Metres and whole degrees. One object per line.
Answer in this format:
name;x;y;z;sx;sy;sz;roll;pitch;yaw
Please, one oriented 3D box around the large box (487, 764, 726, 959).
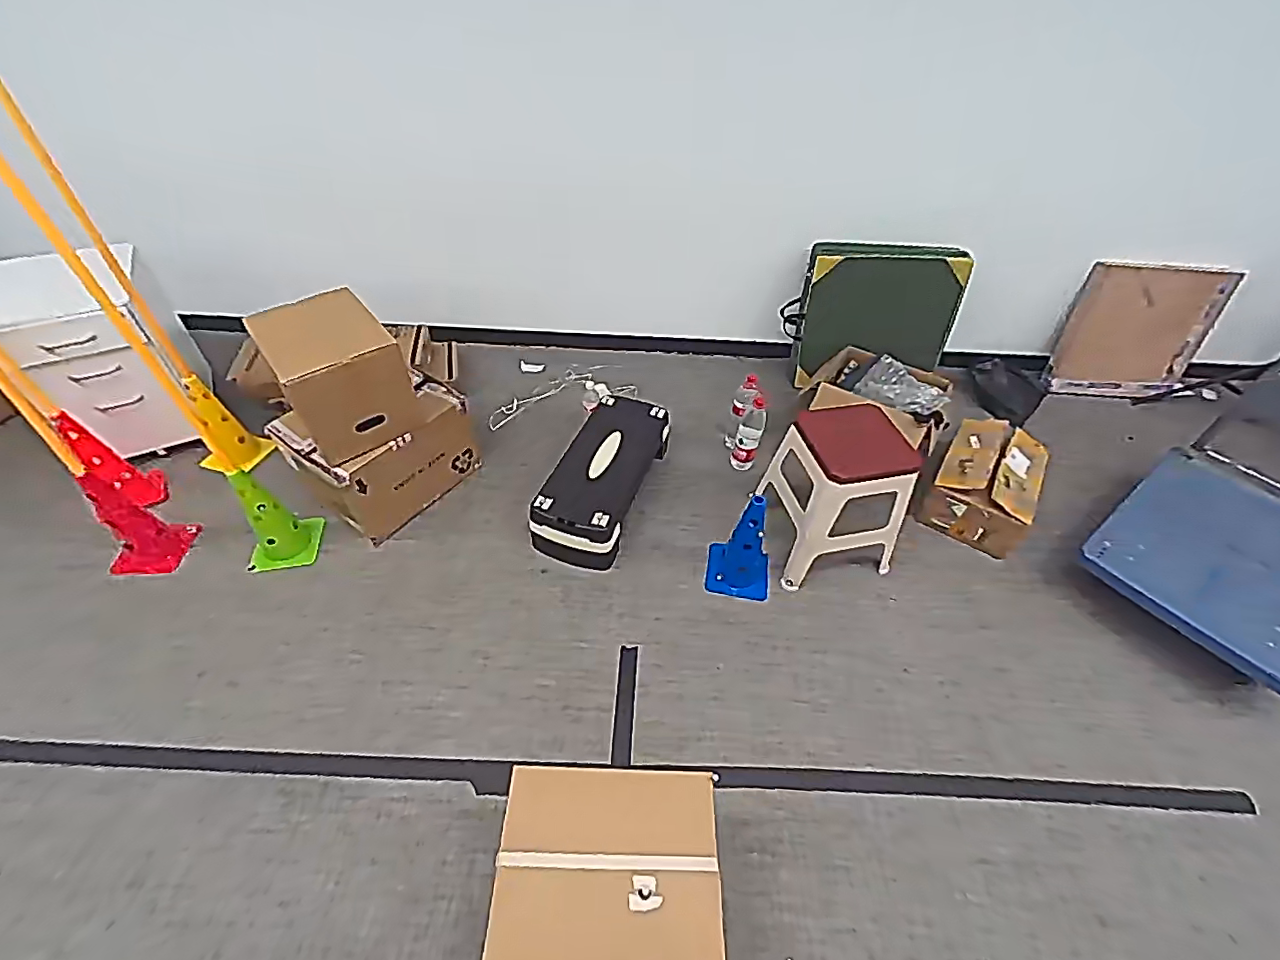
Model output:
large box;-0.063;0.796;1.096;0.408;0.320;0.320;3;47;-2
